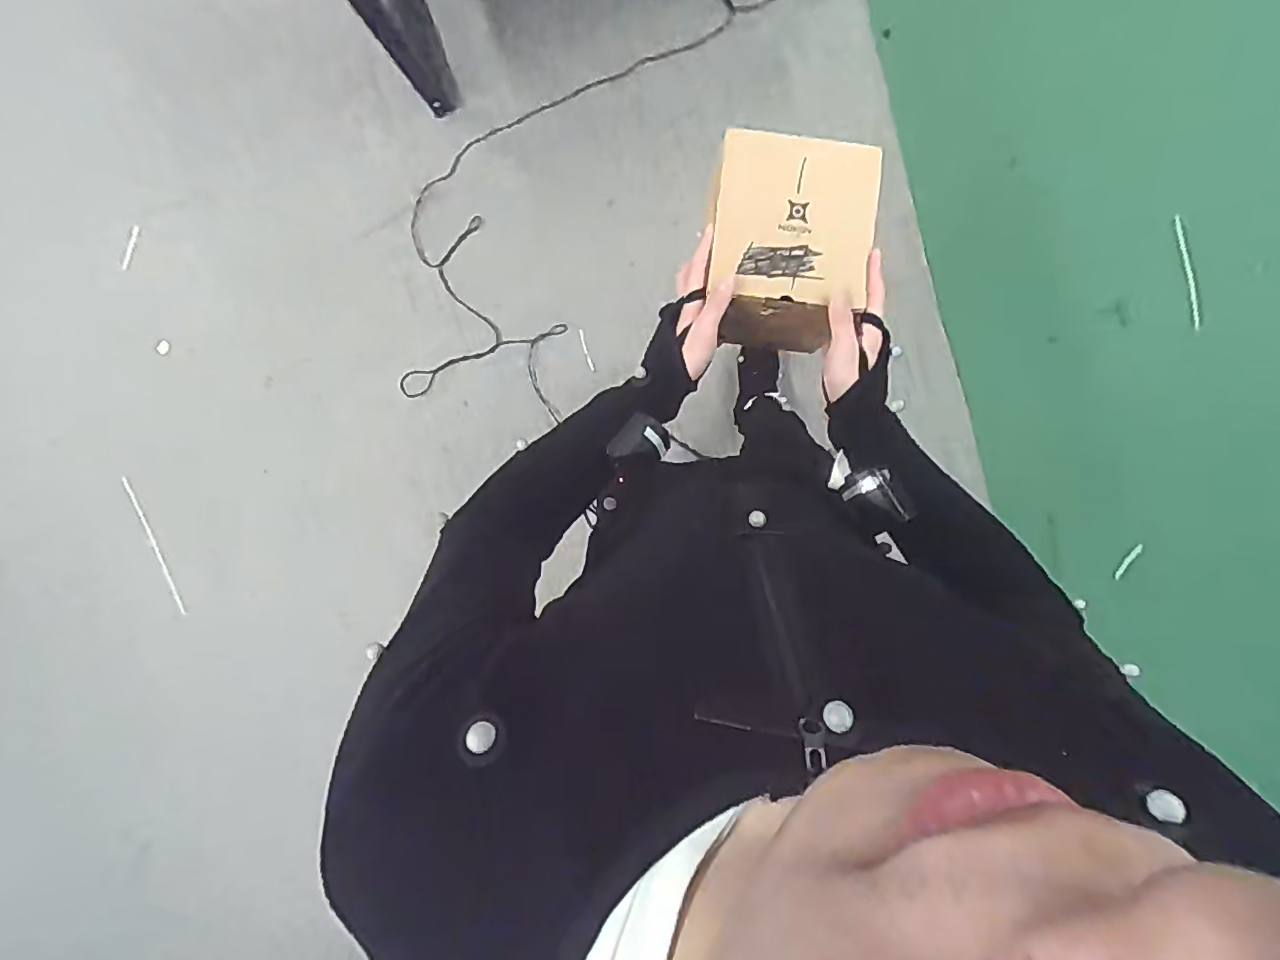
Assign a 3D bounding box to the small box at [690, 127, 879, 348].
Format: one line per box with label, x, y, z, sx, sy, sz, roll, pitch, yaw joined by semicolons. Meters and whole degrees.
small box;0.153;-0.263;0.628;0.168;0.176;0.179;6;88;0
